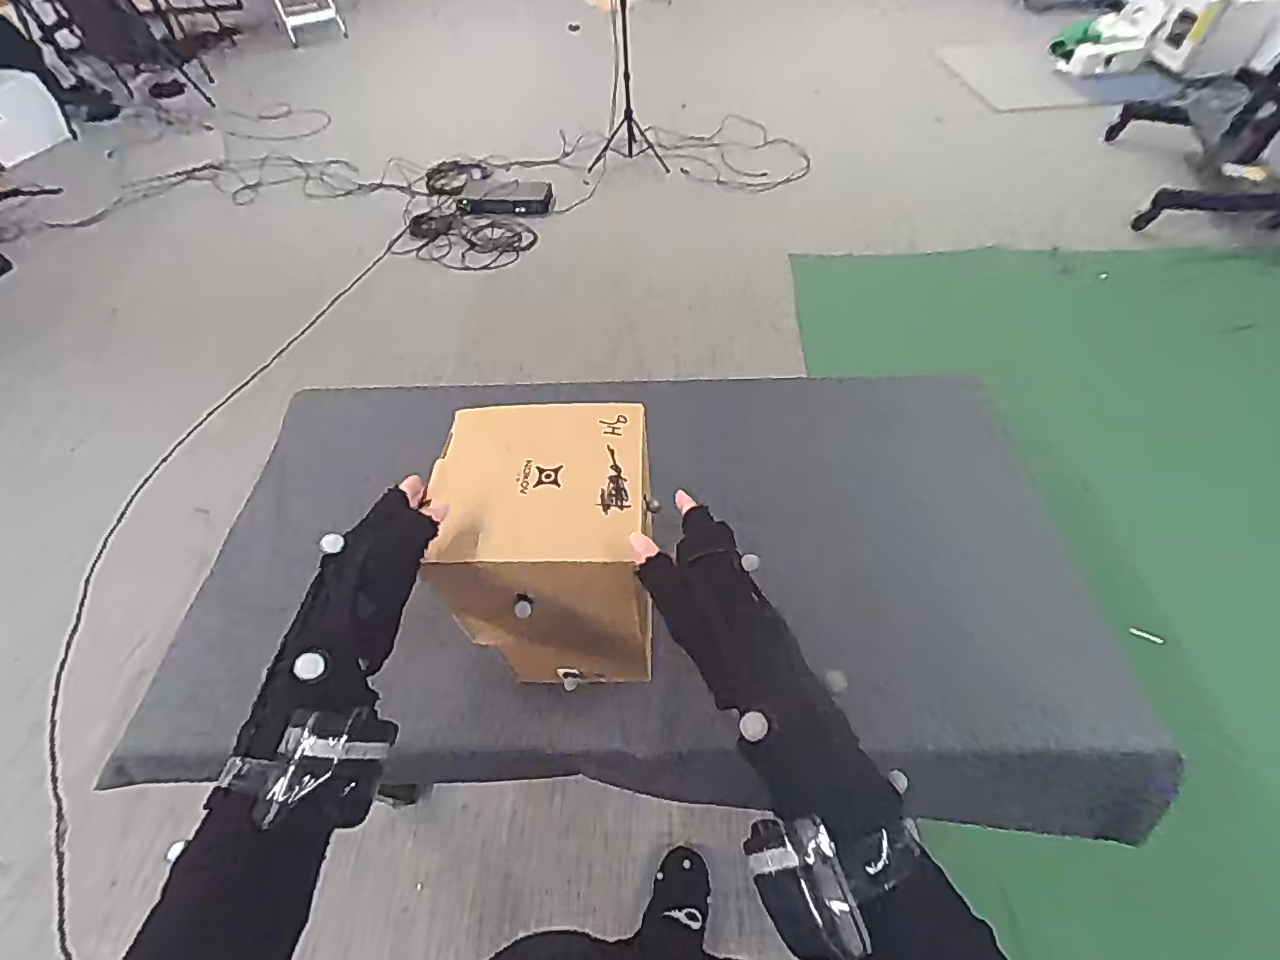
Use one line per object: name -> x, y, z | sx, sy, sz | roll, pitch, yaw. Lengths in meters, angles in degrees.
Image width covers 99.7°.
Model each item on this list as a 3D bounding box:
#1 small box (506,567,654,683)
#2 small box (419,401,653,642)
small box -> -0.070, 0.131, 0.657 | 0.168, 0.176, 0.179 | -4, 53, 3
small box -> -0.080, 0.045, 0.520 | 0.179, 0.176, 0.168 | -3, 50, 1
